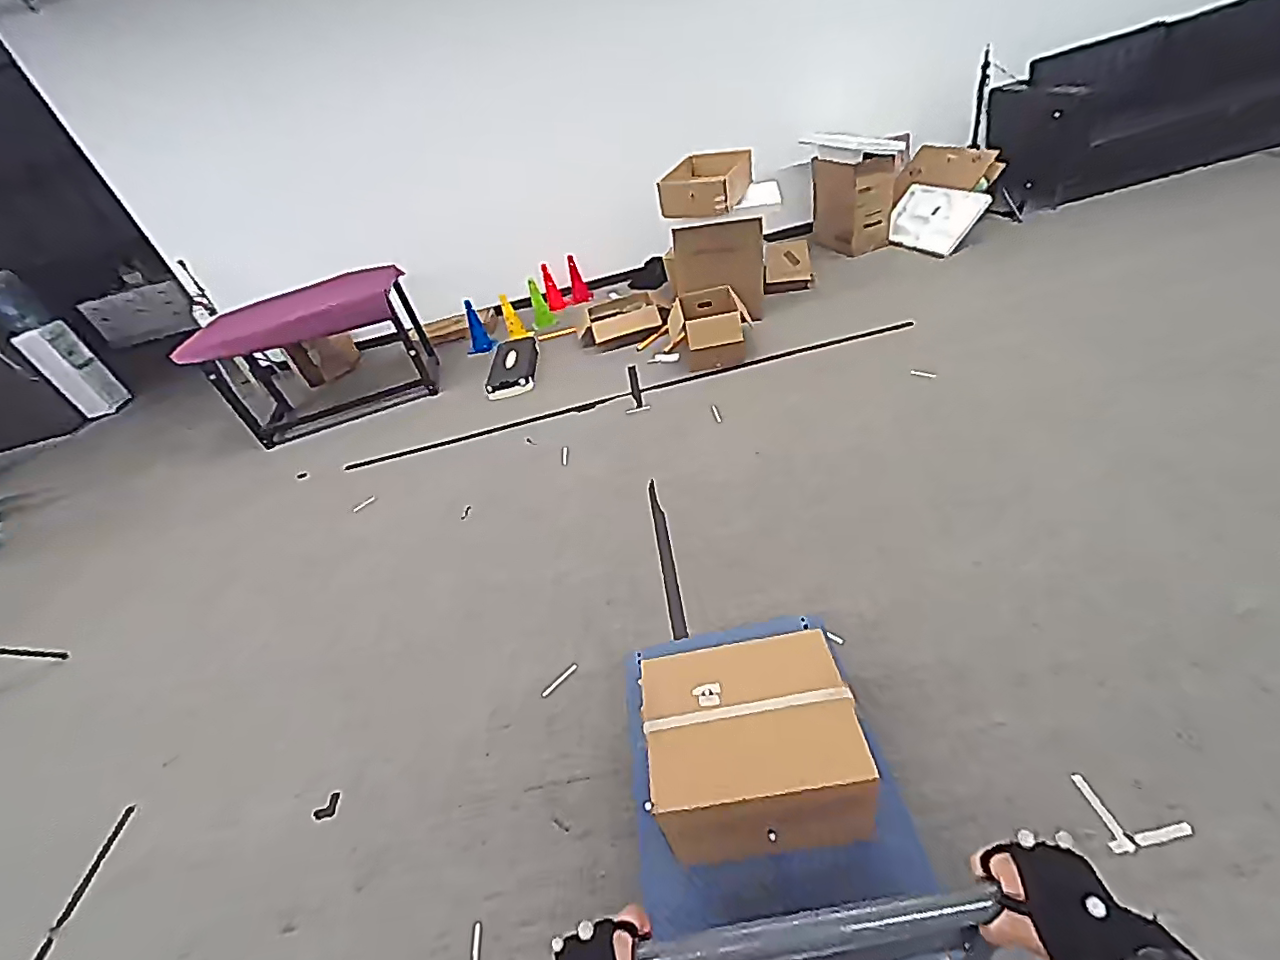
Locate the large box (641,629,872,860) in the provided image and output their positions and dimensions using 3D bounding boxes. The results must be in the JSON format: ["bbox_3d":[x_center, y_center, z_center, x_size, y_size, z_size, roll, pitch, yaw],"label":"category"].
[{"bbox_3d":[0.241,0.575,1.174,0.408,0.320,0.320,-13,37,5],"label":"large box"}]
